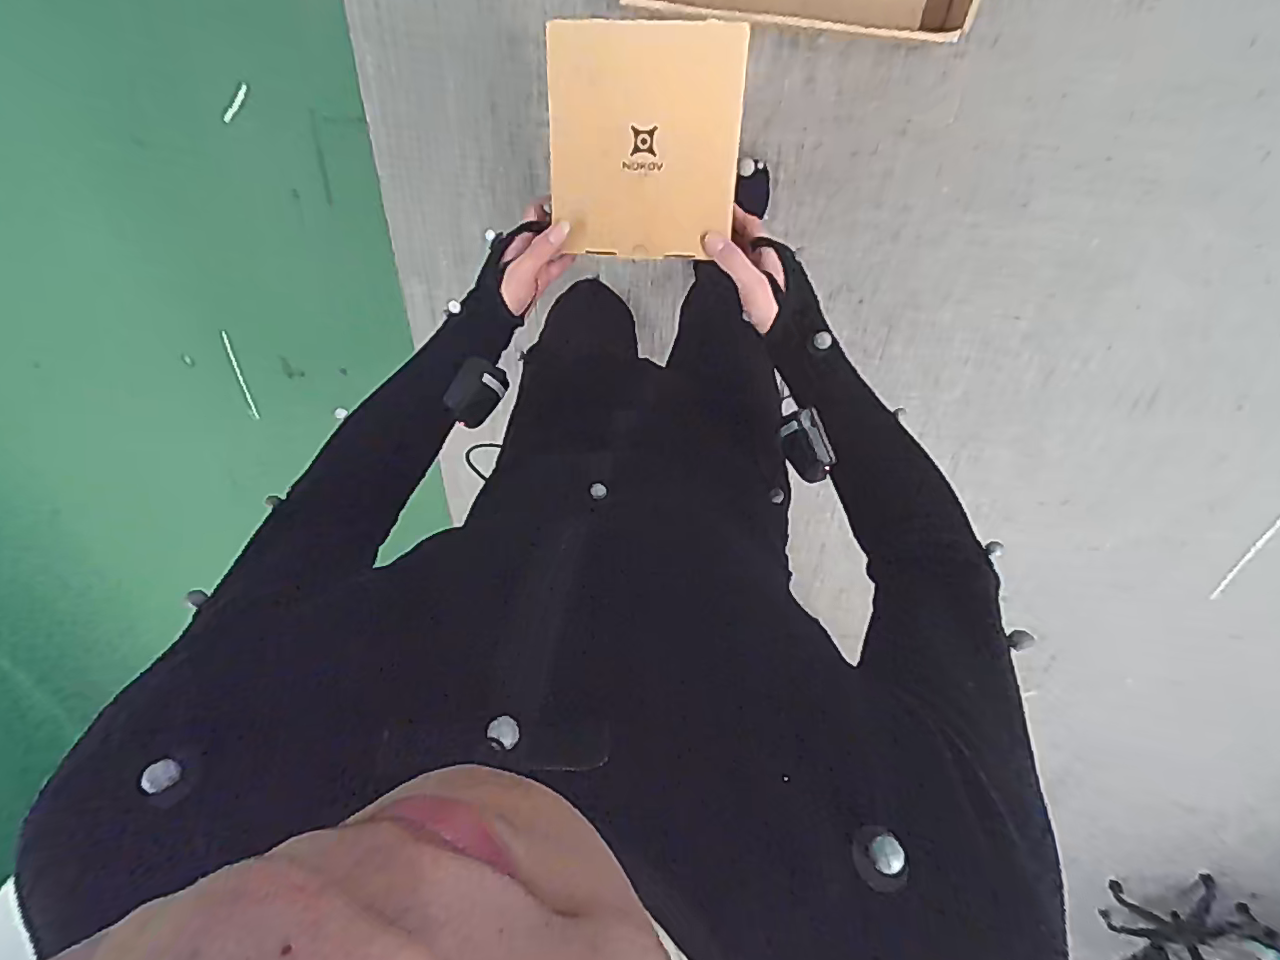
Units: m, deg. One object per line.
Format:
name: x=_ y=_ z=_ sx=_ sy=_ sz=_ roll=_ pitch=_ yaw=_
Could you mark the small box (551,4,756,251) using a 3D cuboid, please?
small box: x=0.012 y=-0.325 z=0.529 sx=0.168 sy=0.176 sz=0.179 roll=3 pitch=116 yaw=3
